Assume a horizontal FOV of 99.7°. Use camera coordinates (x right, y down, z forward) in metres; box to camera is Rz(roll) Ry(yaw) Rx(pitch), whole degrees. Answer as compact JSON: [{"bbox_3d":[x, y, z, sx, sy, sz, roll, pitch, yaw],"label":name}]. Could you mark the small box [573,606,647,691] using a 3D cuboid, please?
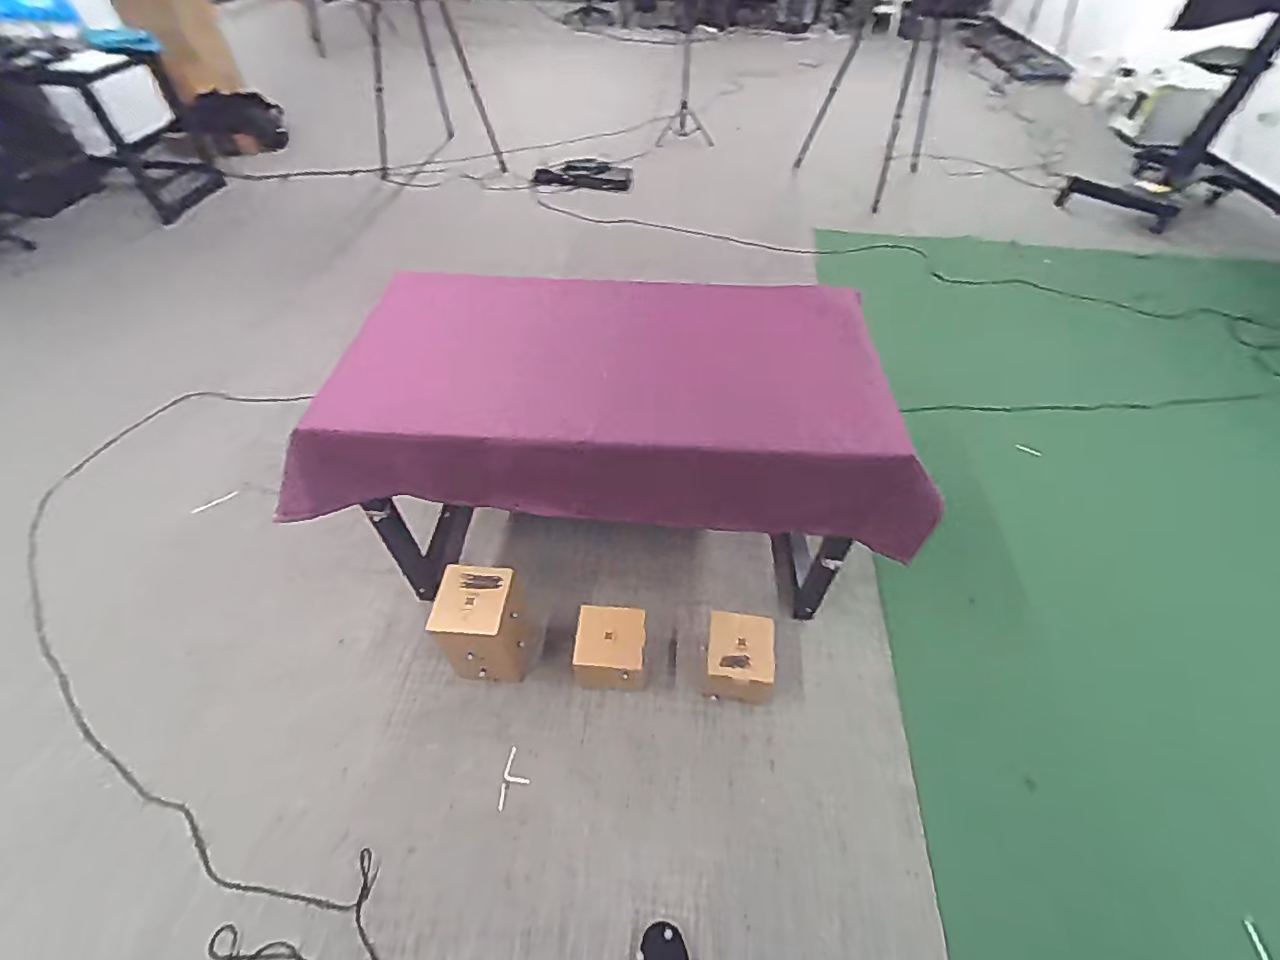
[{"bbox_3d":[-0.075,0.457,1.459,0.179,0.176,0.168,3,50,3],"label":"small box"}]
